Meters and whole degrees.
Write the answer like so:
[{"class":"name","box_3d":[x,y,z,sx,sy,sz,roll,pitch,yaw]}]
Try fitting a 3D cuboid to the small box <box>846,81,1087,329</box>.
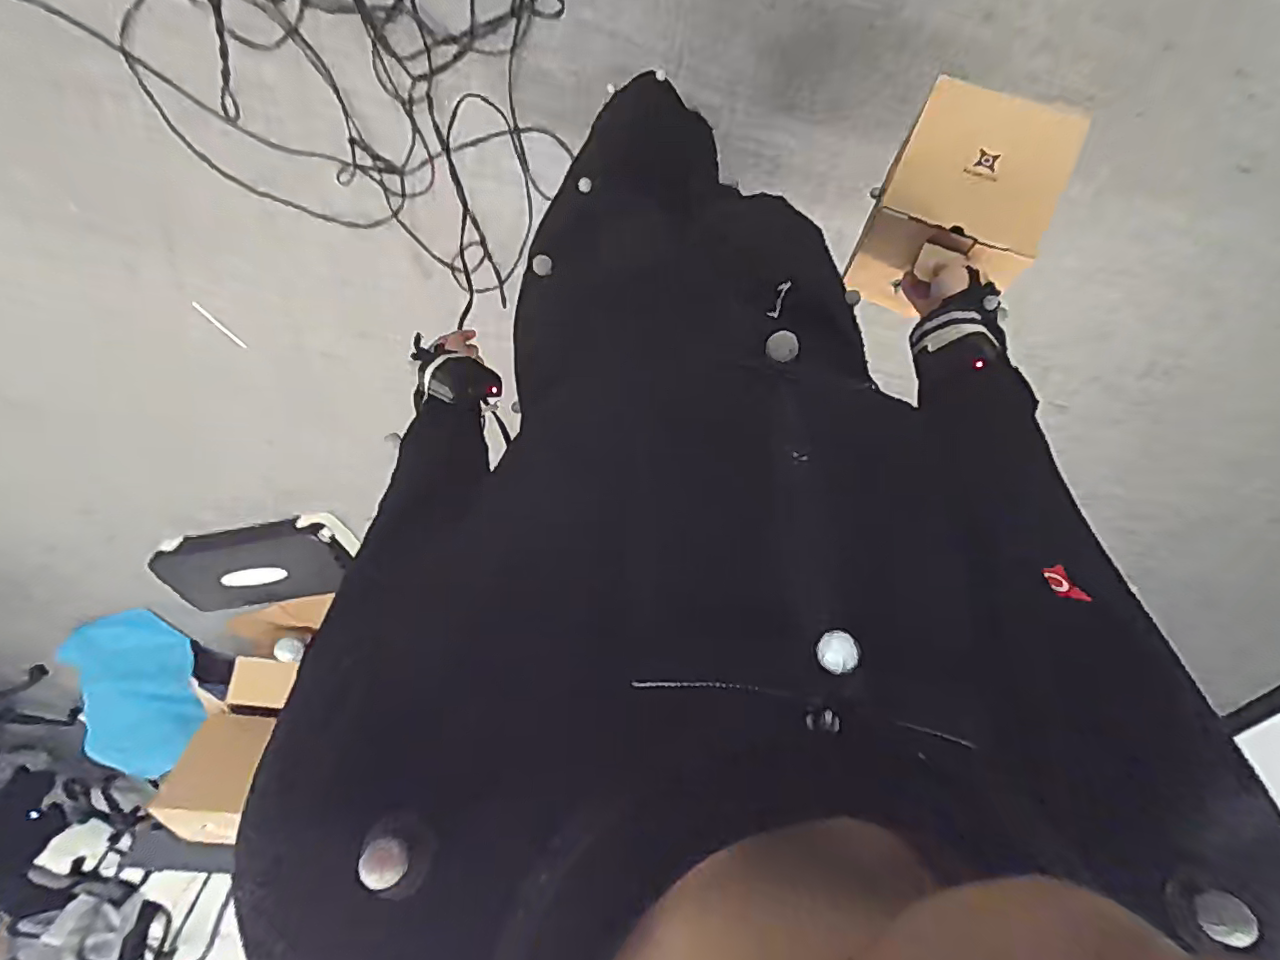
[{"class":"small box","box_3d":[0.373,-0.317,0.653,0.168,0.176,0.179,24,84,8]}]
